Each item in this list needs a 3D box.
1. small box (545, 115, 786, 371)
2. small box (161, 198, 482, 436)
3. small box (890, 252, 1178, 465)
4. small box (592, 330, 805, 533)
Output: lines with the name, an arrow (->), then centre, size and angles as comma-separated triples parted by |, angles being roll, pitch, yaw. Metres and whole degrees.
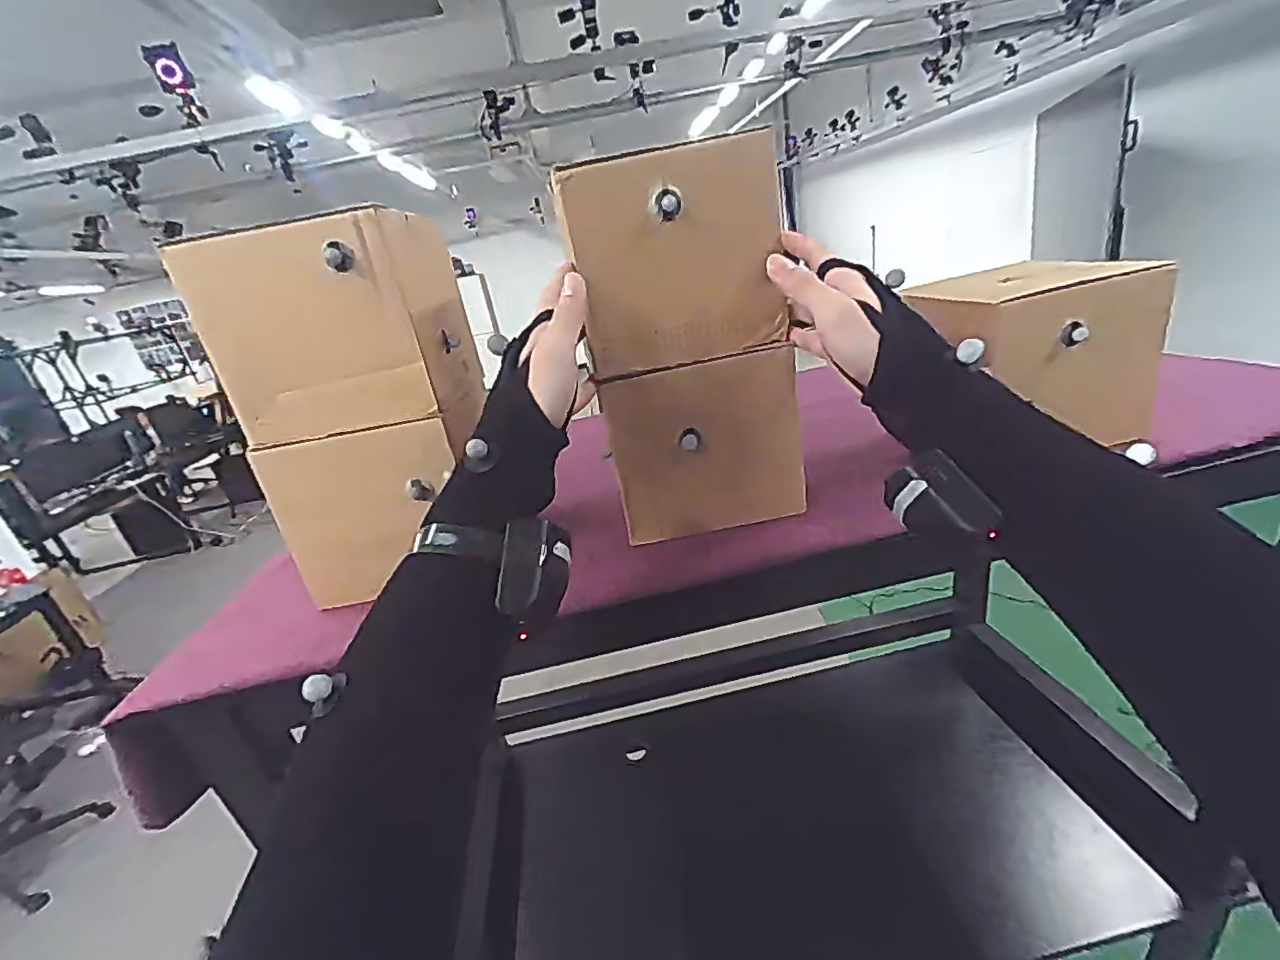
small box -> 0.021, -0.207, 0.504 | 0.179, 0.176, 0.168 | -13, 22, -2
small box -> -0.271, -0.148, 0.511 | 0.179, 0.176, 0.168 | -10, 21, 1
small box -> 0.387, -0.128, 0.562 | 0.179, 0.176, 0.168 | -13, 23, -2
small box -> 0.057, -0.059, 0.563 | 0.179, 0.176, 0.168 | -11, 21, 2
